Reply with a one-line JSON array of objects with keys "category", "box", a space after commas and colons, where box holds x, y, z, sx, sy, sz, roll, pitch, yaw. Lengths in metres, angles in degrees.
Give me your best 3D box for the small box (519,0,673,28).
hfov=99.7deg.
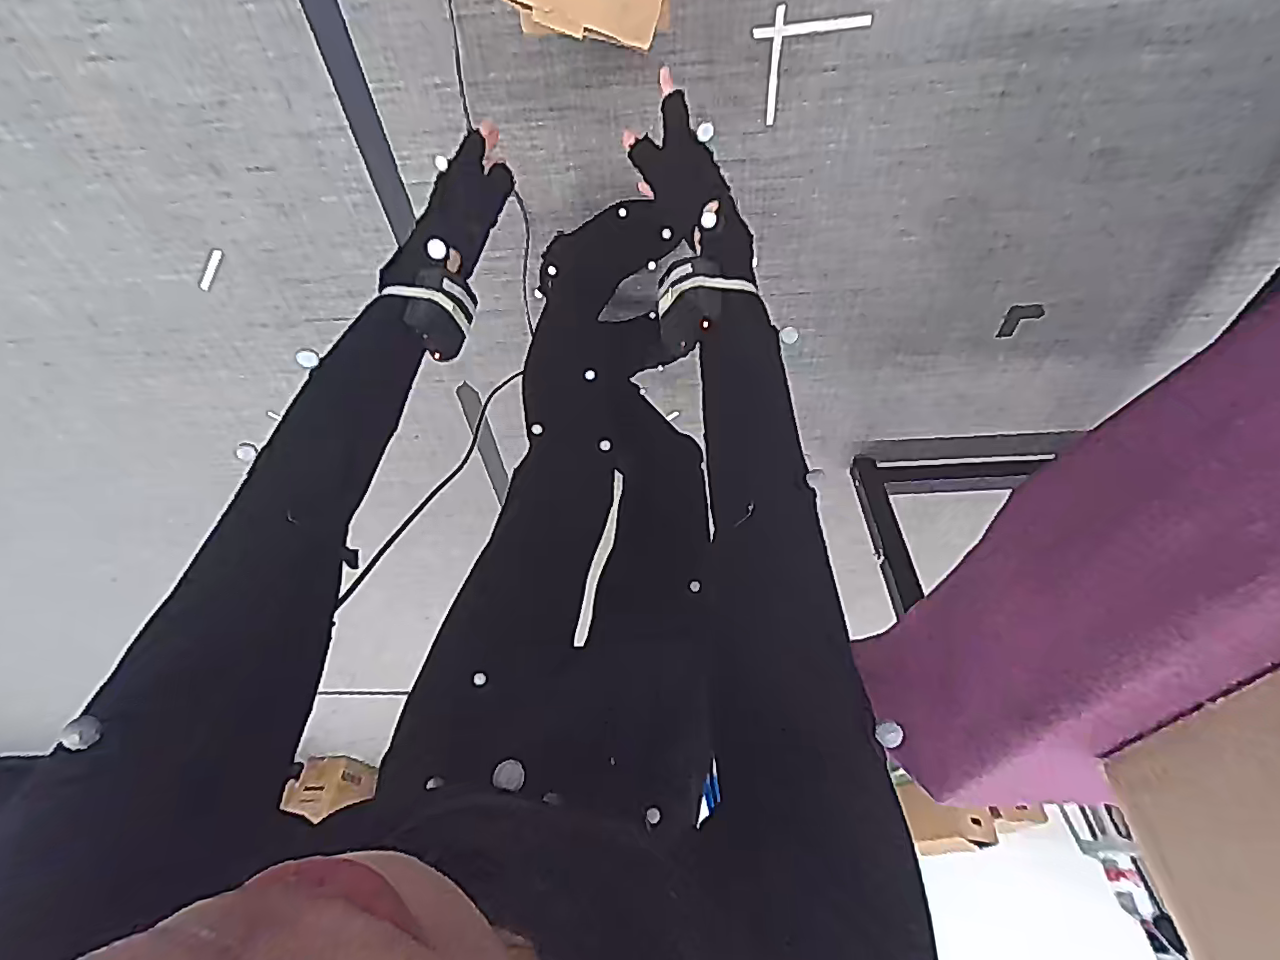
[{"category": "small box", "box": [-0.048, -0.611, 0.576, 0.168, 0.176, 0.179, 0, 139, 2]}]
